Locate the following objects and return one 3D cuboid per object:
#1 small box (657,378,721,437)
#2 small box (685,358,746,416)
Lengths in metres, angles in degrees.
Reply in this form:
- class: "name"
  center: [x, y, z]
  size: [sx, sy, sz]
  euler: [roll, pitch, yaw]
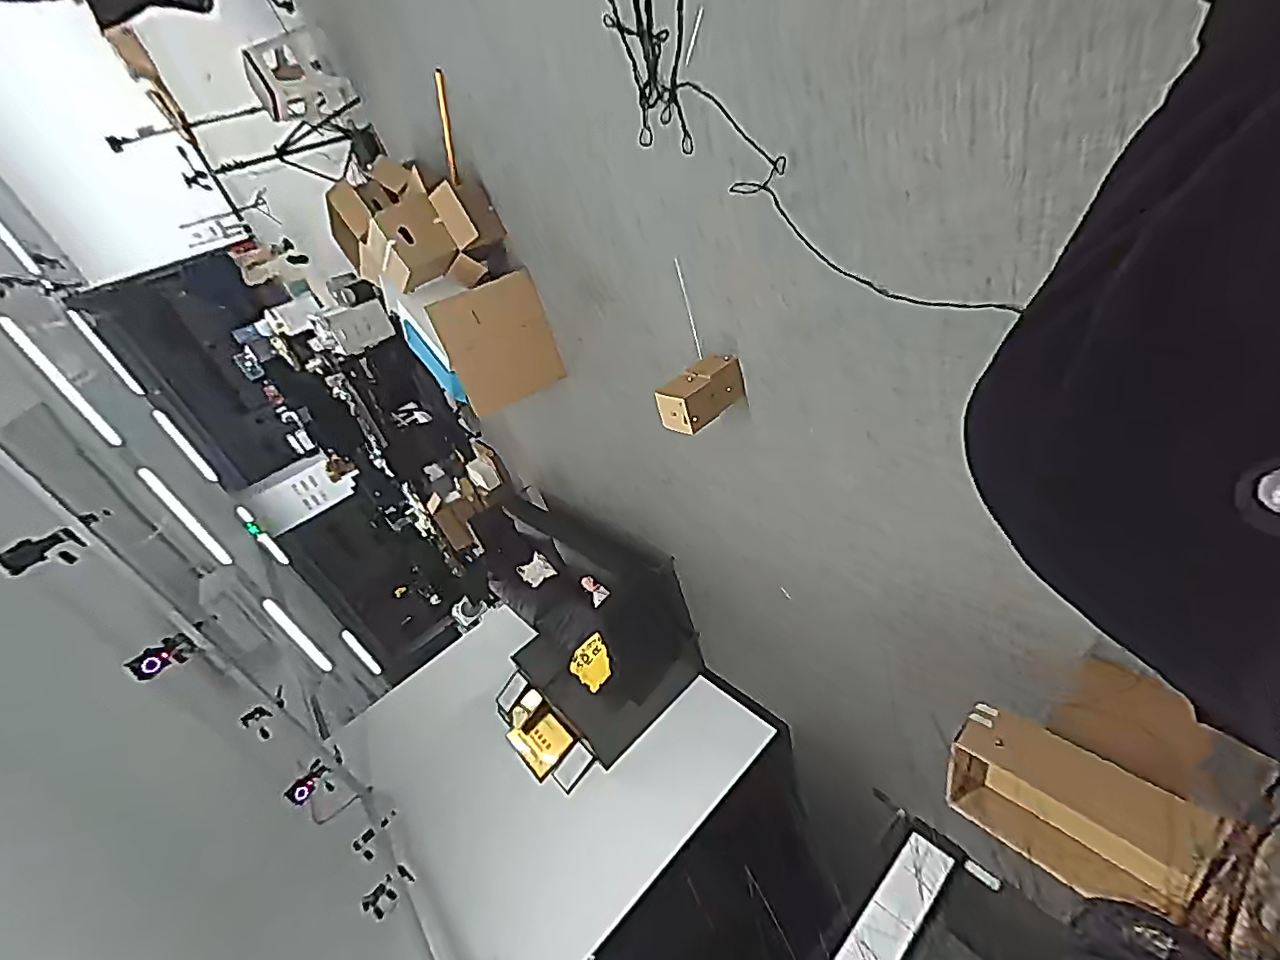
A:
- class: "small box"
  center: [0.200, -0.300, 2.184]
  size: [0.179, 0.176, 0.168]
  euler: [24, 142, 47]
- class: "small box"
  center: [0.317, -0.393, 2.252]
  size: [0.168, 0.176, 0.179]
  euler: [22, 141, 48]
